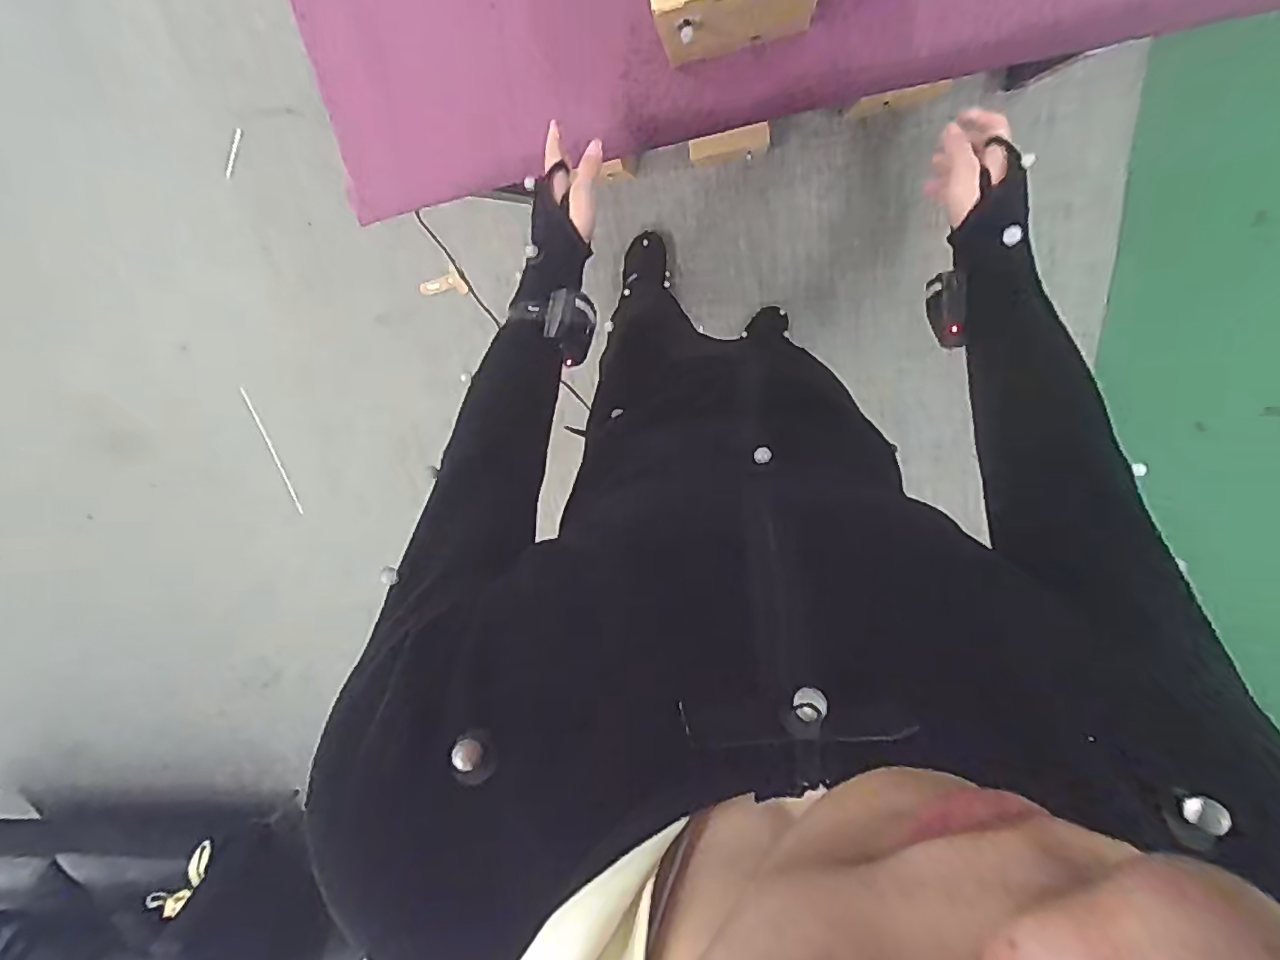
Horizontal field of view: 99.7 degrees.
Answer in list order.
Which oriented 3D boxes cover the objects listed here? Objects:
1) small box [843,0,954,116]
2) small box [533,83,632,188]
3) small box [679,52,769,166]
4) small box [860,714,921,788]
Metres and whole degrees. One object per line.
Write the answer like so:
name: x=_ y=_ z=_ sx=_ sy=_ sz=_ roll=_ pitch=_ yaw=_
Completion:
small box: x=0.527 y=-0.883 z=1.128 sx=0.179 sy=0.176 sz=0.168 roll=-3 pitch=114 yaw=11
small box: x=-0.128 y=-0.801 z=1.278 sx=0.179 sy=0.176 sz=0.168 roll=-7 pitch=113 yaw=12
small box: x=0.190 y=-0.822 z=1.214 sx=0.179 sy=0.176 sz=0.168 roll=-5 pitch=112 yaw=12
small box: x=0.878 y=0.950 z=1.906 sx=0.168 sy=0.176 sz=0.179 roll=-6 pitch=113 yaw=13
